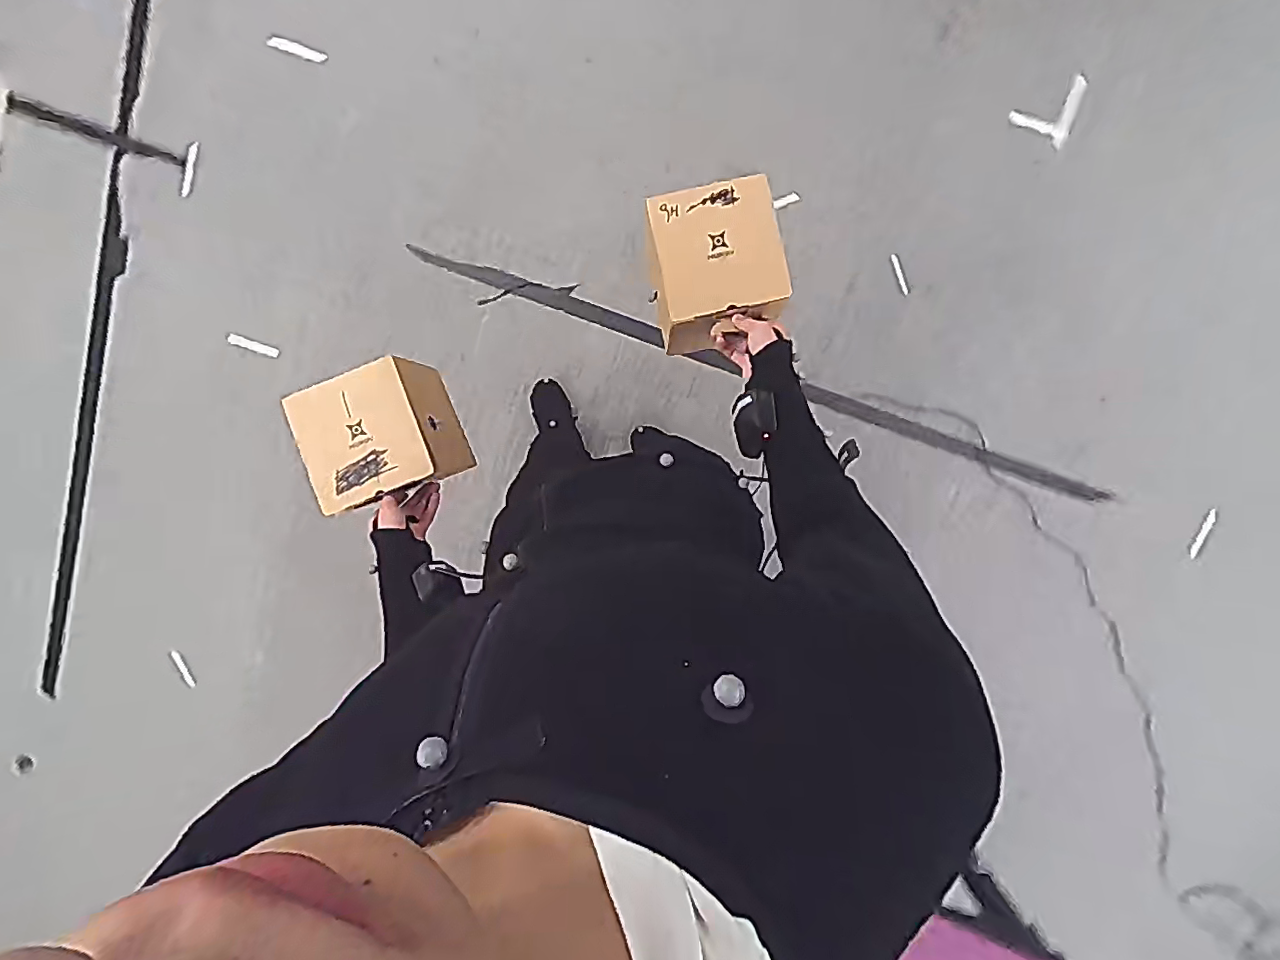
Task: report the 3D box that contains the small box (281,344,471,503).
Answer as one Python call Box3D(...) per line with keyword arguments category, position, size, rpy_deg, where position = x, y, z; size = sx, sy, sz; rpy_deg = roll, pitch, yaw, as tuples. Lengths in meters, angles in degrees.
Box3D(category="small box", position=(-0.375, -0.083, 0.806), size=(0.168, 0.176, 0.179), rpy_deg=(-20, 94, 2))

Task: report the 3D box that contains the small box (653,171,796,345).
Box3D(category="small box", position=(0.113, -0.305, 0.785), size=(0.168, 0.176, 0.179), rpy_deg=(-10, 88, 1))
